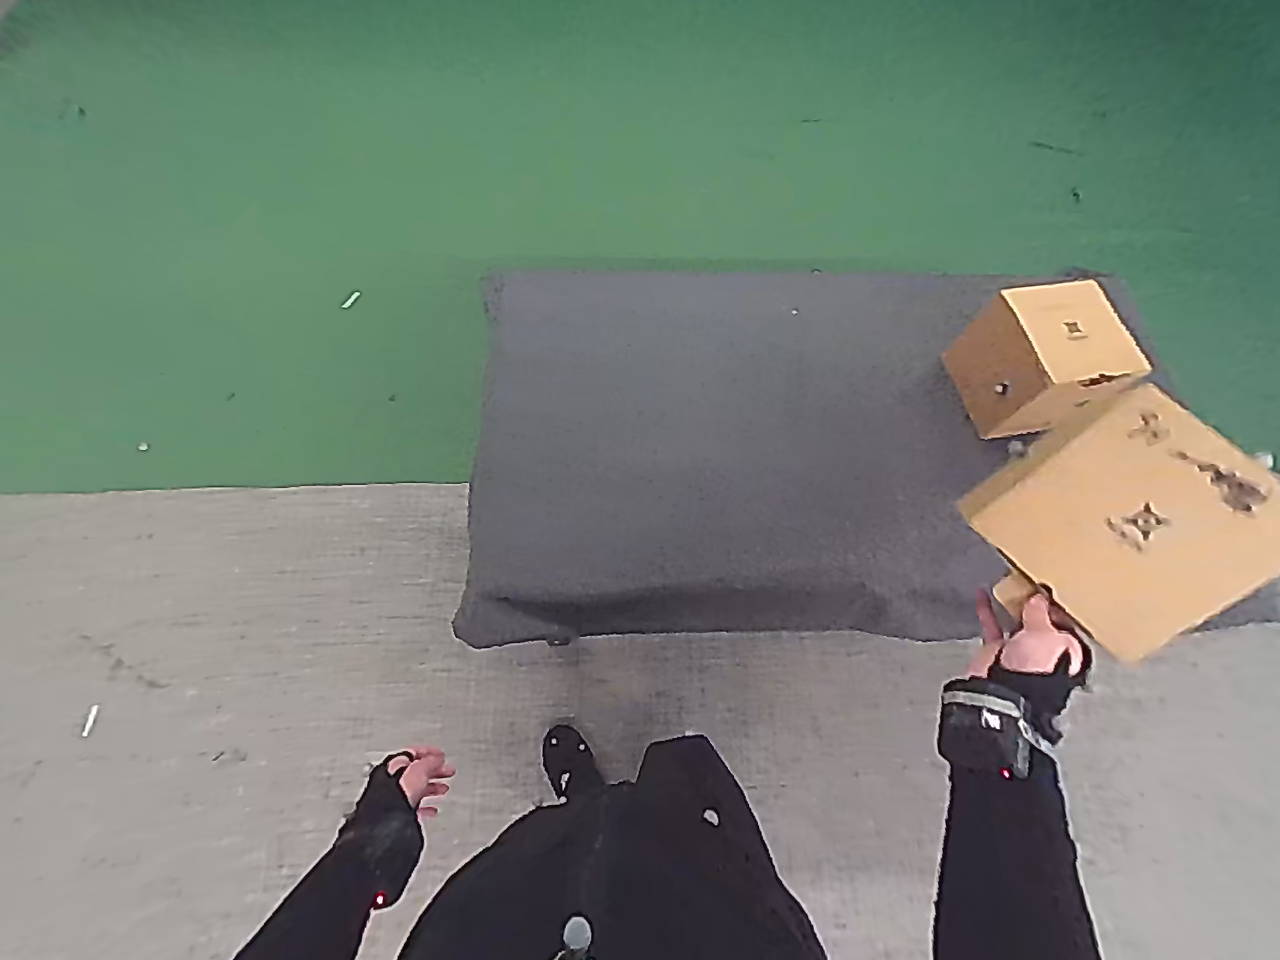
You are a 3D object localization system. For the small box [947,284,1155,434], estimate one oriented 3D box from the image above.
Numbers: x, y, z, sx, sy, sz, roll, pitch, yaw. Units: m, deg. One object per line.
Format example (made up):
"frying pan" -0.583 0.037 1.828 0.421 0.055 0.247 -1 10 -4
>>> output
"small box" 0.645 -0.186 0.875 0.168 0.176 0.179 -8 66 -8
